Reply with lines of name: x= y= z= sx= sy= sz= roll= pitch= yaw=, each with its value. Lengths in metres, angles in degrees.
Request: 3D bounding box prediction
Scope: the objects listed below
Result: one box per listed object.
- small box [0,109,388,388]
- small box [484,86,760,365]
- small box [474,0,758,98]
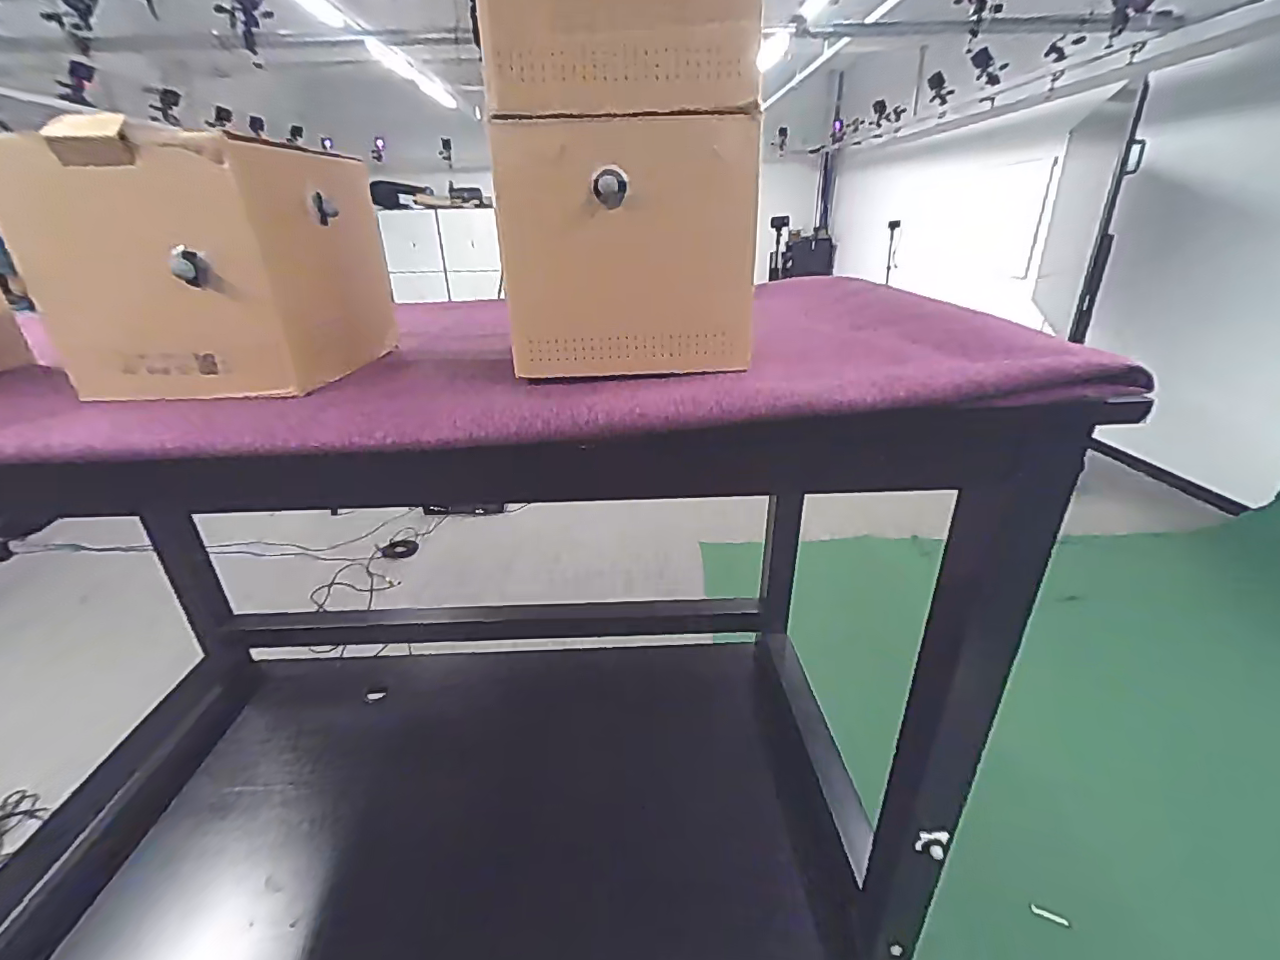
small box: x=-0.322 y=-0.172 z=0.423 sx=0.168 sy=0.176 sz=0.179 roll=0 pitch=25 yaw=0
small box: x=-0.010 y=-0.190 z=0.435 sx=0.179 sy=0.176 sz=0.168 roll=-2 pitch=23 yaw=-1
small box: x=-0.017 y=-0.341 z=0.376 sx=0.179 sy=0.176 sz=0.168 roll=-2 pitch=23 yaw=-1
